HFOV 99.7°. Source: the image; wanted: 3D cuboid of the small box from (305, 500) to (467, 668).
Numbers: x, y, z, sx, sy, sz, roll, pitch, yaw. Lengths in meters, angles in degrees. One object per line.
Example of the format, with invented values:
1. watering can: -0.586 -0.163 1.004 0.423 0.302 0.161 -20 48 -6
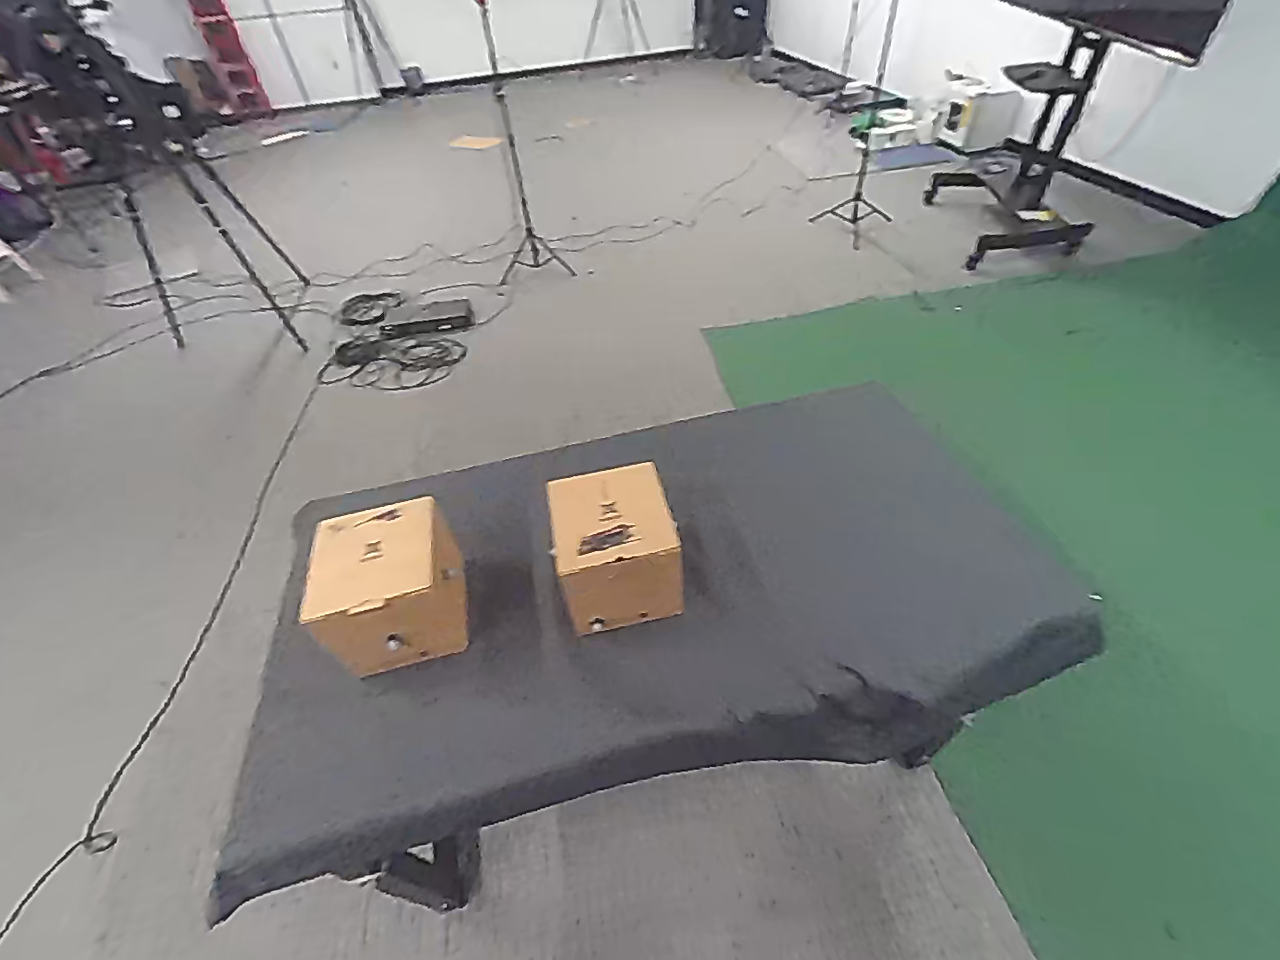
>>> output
1. small box: -0.367 0.163 0.815 0.168 0.176 0.179 -14 47 -7

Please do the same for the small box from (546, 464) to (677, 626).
1. small box: -0.041 0.106 0.835 0.168 0.176 0.179 -12 45 -5
